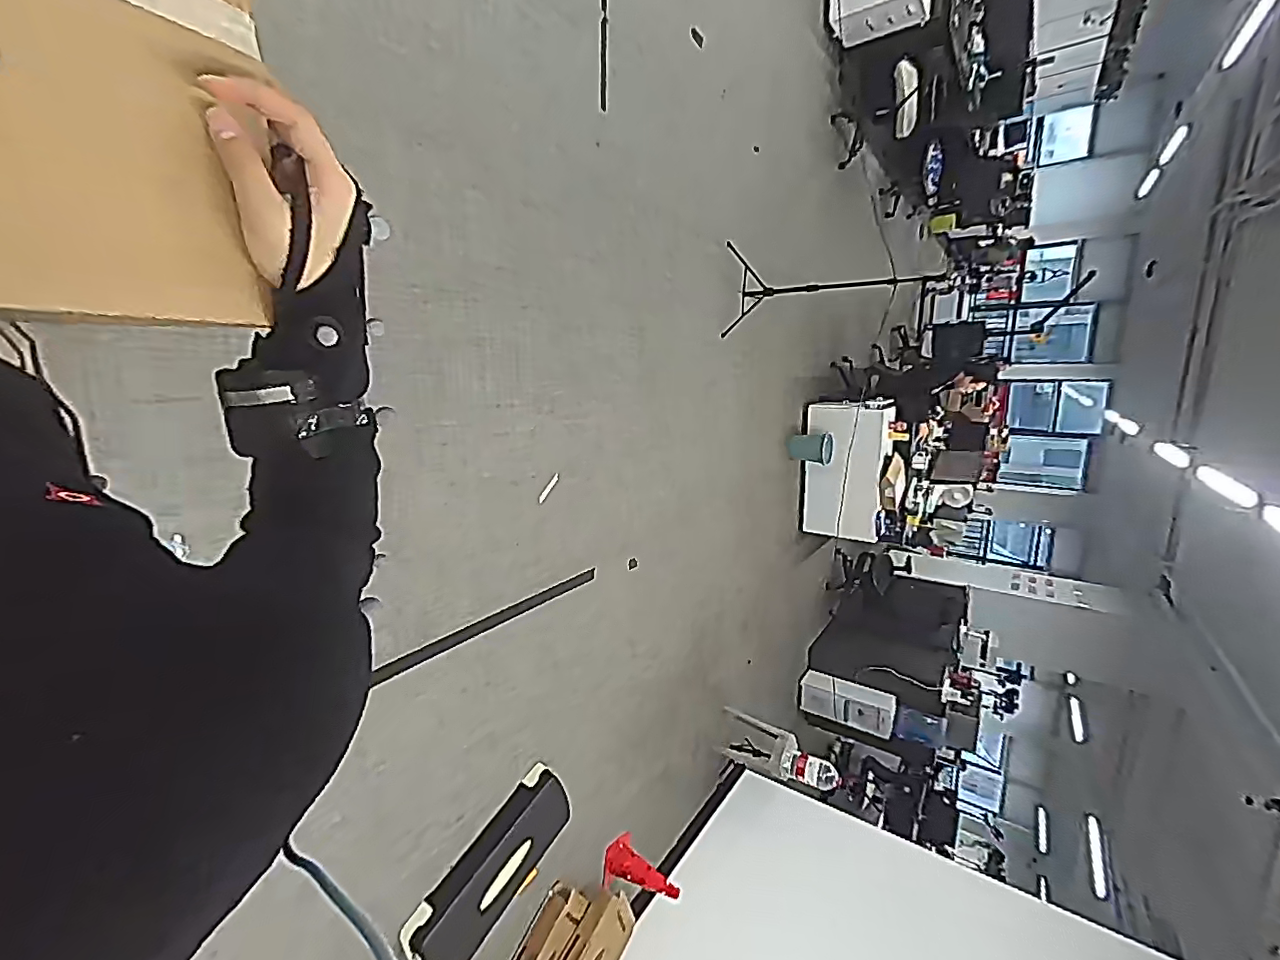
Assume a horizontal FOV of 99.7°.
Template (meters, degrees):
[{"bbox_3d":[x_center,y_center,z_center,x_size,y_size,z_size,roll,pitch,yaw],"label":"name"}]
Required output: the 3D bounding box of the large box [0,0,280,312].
[{"bbox_3d":[-0.458,-0.248,0.227,0.408,0.320,0.320,-17,114,-57],"label":"large box"}]
